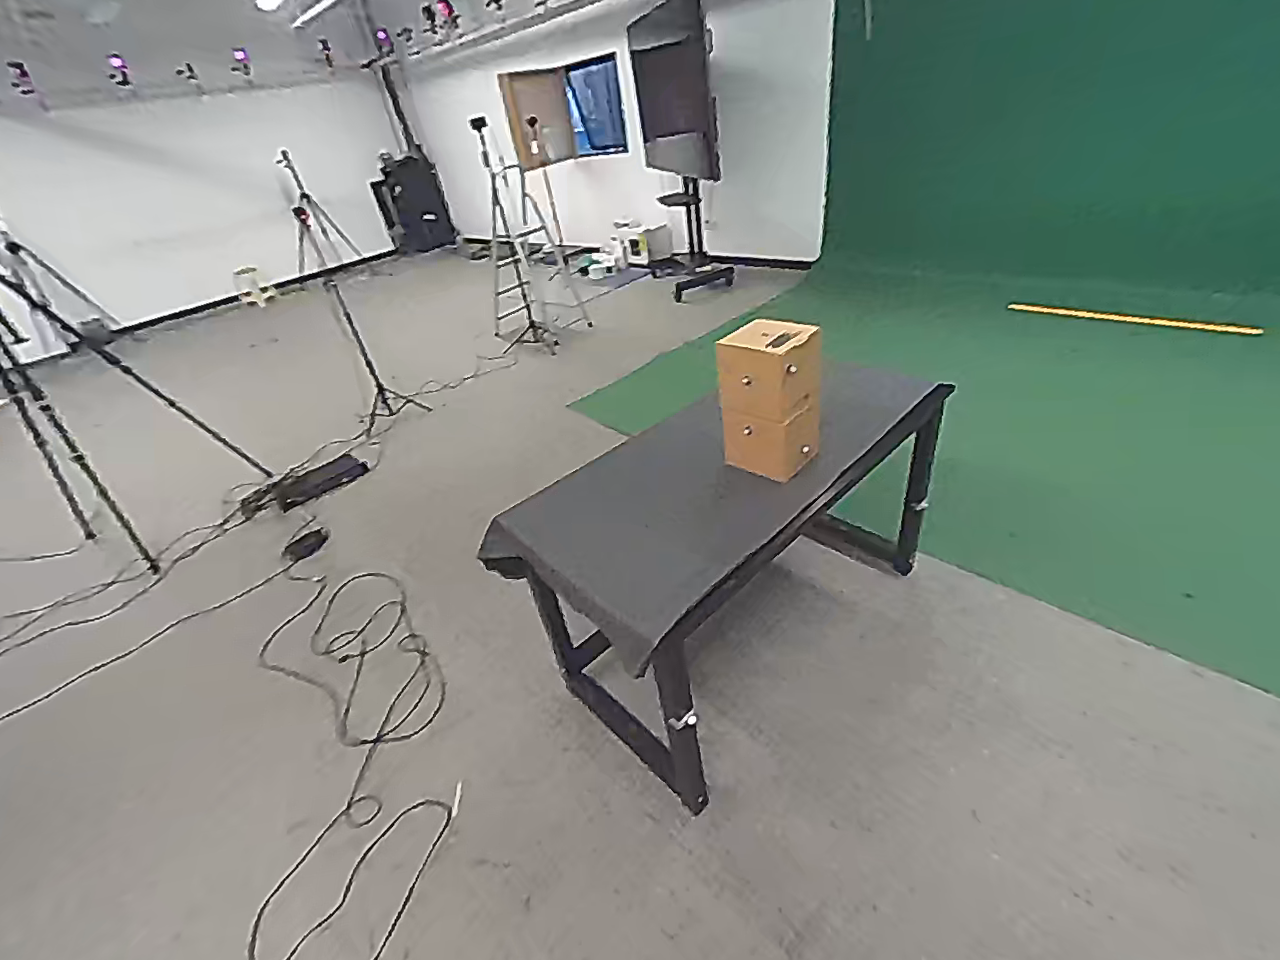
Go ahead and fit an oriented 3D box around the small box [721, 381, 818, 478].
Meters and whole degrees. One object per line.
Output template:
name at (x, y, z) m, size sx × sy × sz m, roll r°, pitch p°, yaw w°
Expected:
small box at (0.324, -0.127, 1.353) m, size 0.179 × 0.176 × 0.168 m, roll 22°, pitch 46°, yaw 39°
